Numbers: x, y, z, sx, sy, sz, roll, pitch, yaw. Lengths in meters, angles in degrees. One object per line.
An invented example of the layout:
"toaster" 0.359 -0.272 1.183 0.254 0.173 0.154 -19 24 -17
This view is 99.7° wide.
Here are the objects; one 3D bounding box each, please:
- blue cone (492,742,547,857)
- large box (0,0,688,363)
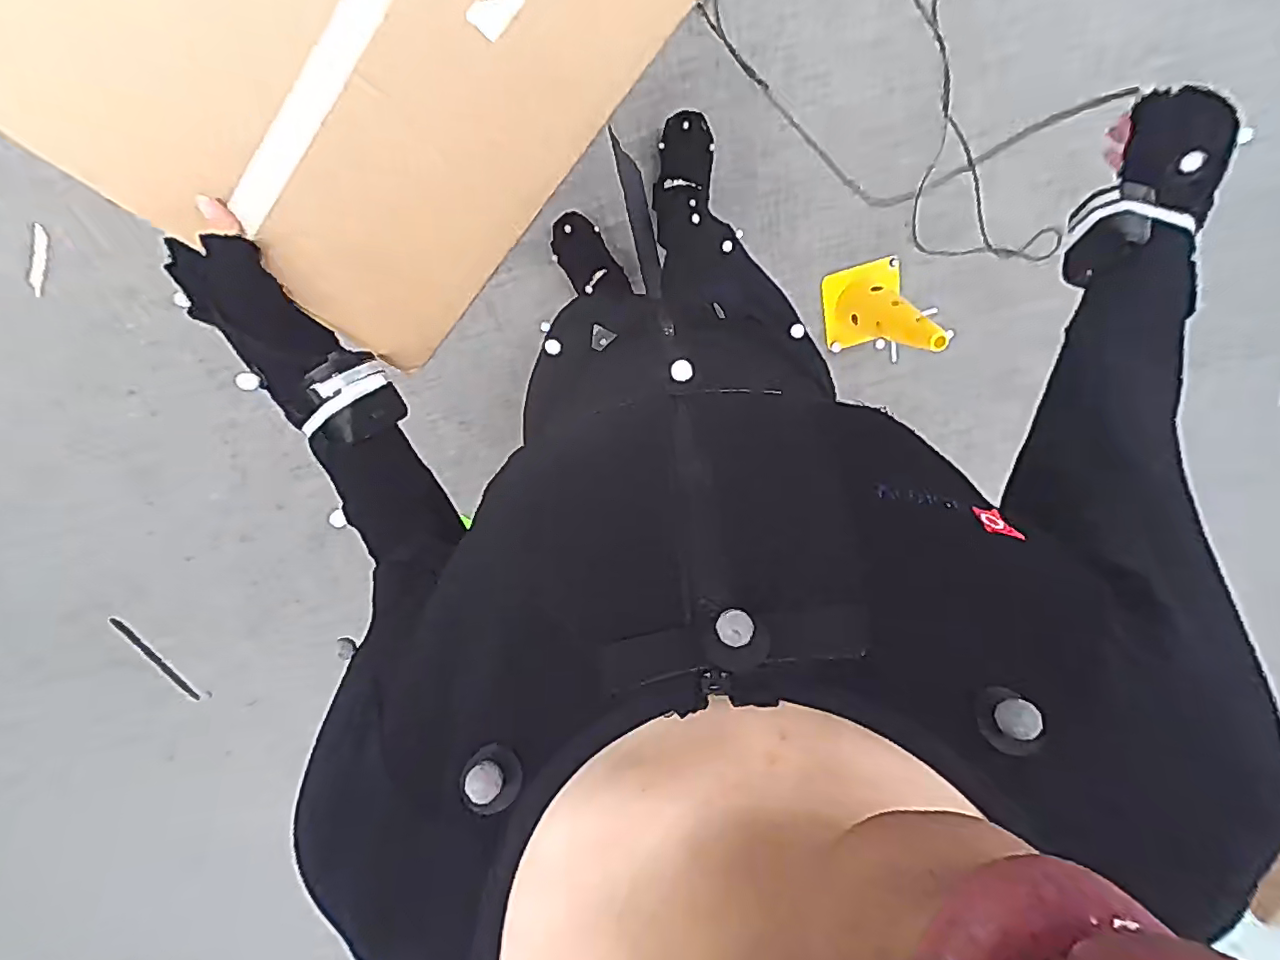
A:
"blue cone" -0.471 1.213 2.046 0.192 0.380 0.193 -12 119 2
"large box" -0.213 -0.389 0.468 0.320 0.320 0.408 34 108 -34
